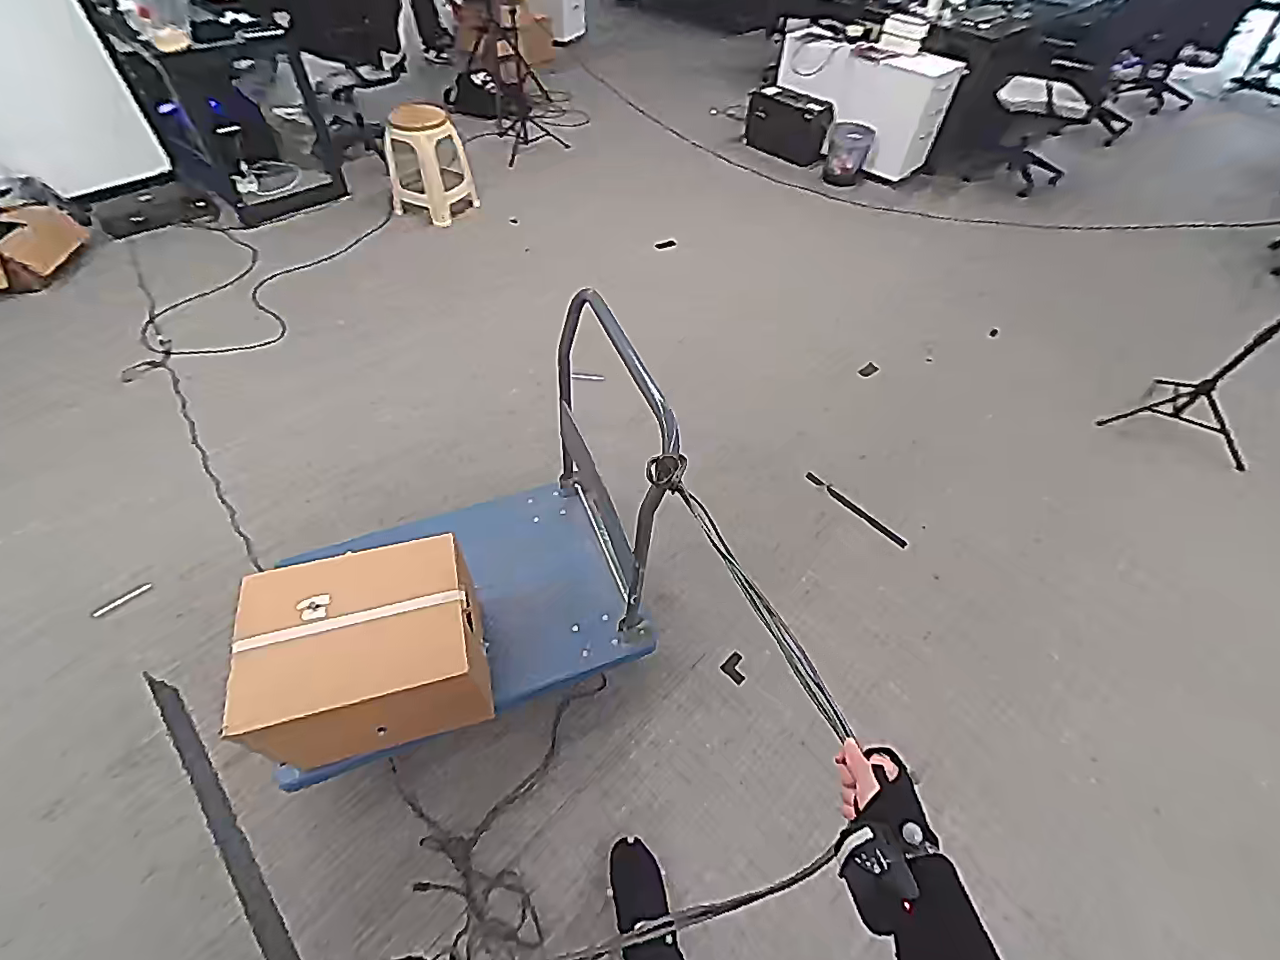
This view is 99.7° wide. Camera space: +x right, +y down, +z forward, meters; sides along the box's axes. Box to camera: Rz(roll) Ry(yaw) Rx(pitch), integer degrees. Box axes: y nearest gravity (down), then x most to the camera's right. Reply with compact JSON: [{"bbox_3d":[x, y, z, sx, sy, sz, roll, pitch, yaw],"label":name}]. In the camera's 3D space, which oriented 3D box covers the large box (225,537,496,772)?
[{"bbox_3d":[-0.546,0.366,1.135,0.408,0.320,0.320,-12,53,-13],"label":"large box"}]
